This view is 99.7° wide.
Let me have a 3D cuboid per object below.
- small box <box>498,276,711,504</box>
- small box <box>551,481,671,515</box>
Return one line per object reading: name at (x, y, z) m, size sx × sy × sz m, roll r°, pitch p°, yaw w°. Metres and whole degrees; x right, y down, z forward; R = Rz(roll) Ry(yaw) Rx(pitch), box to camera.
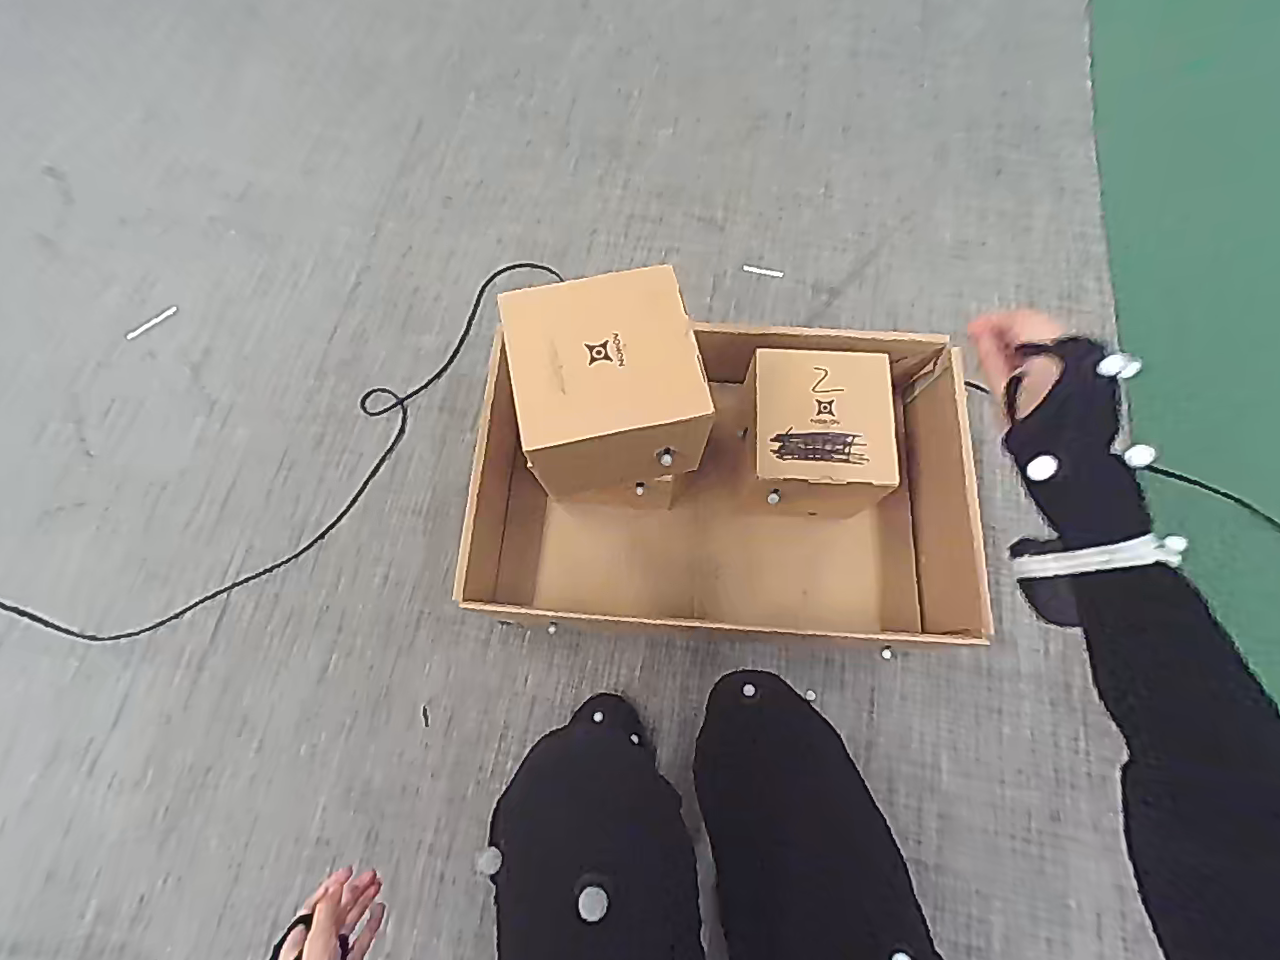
small box at (-0.036, -0.084, 0.577) m, size 0.179 × 0.176 × 0.168 m, roll -12°, pitch 73°, yaw -3°
small box at (-0.041, -0.053, 0.737) m, size 0.179 × 0.176 × 0.168 m, roll 4°, pitch 73°, yaw 1°
